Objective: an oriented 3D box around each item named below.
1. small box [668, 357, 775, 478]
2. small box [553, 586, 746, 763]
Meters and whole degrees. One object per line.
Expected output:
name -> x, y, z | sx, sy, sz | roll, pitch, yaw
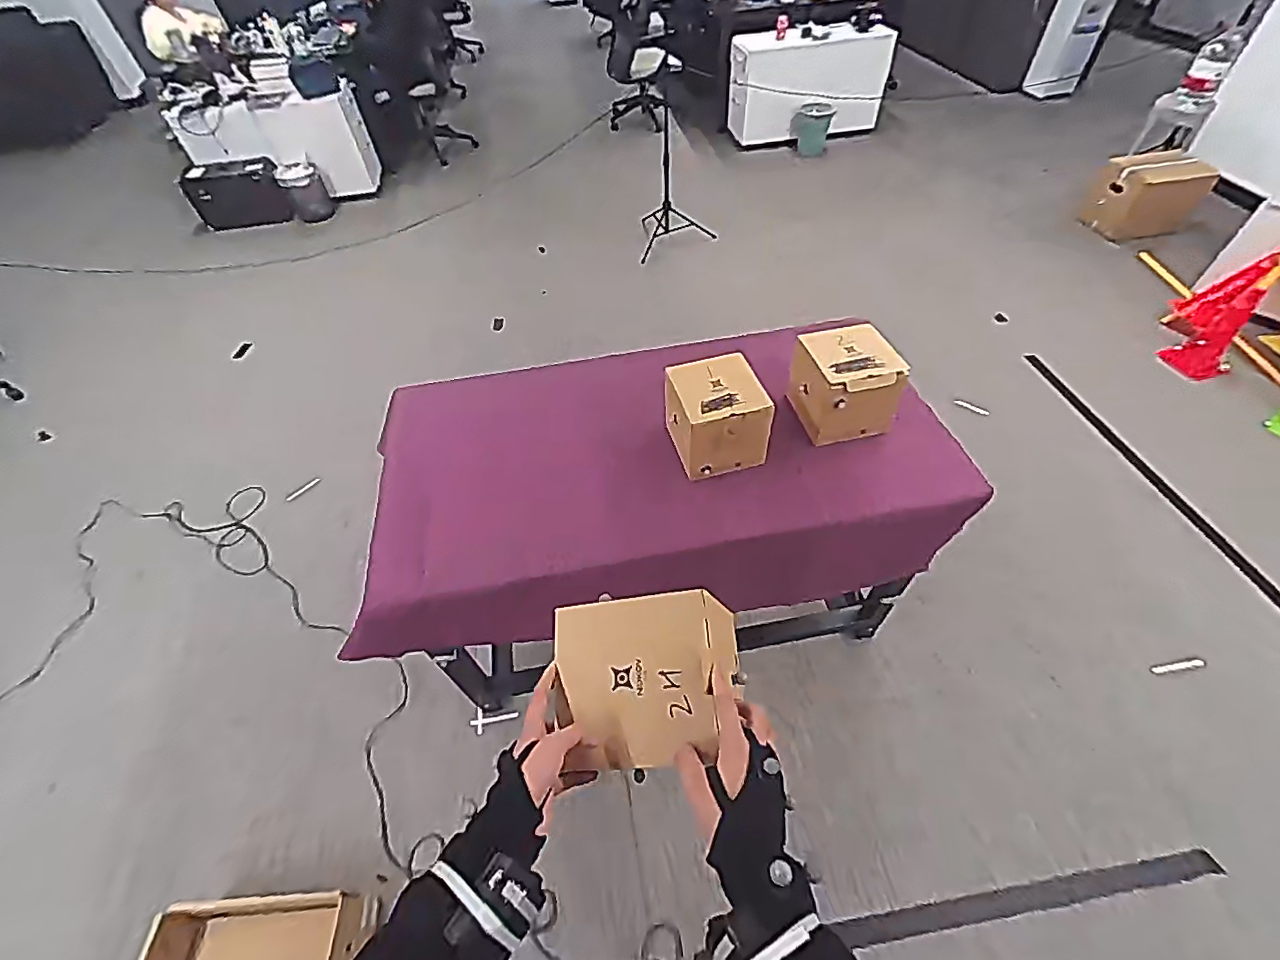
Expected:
small box -> 0.161, -0.122, 1.115 | 0.168, 0.176, 0.179 | -13, 50, -7
small box -> 0.015, 0.230, 0.626 | 0.179, 0.176, 0.168 | -11, 65, 16
